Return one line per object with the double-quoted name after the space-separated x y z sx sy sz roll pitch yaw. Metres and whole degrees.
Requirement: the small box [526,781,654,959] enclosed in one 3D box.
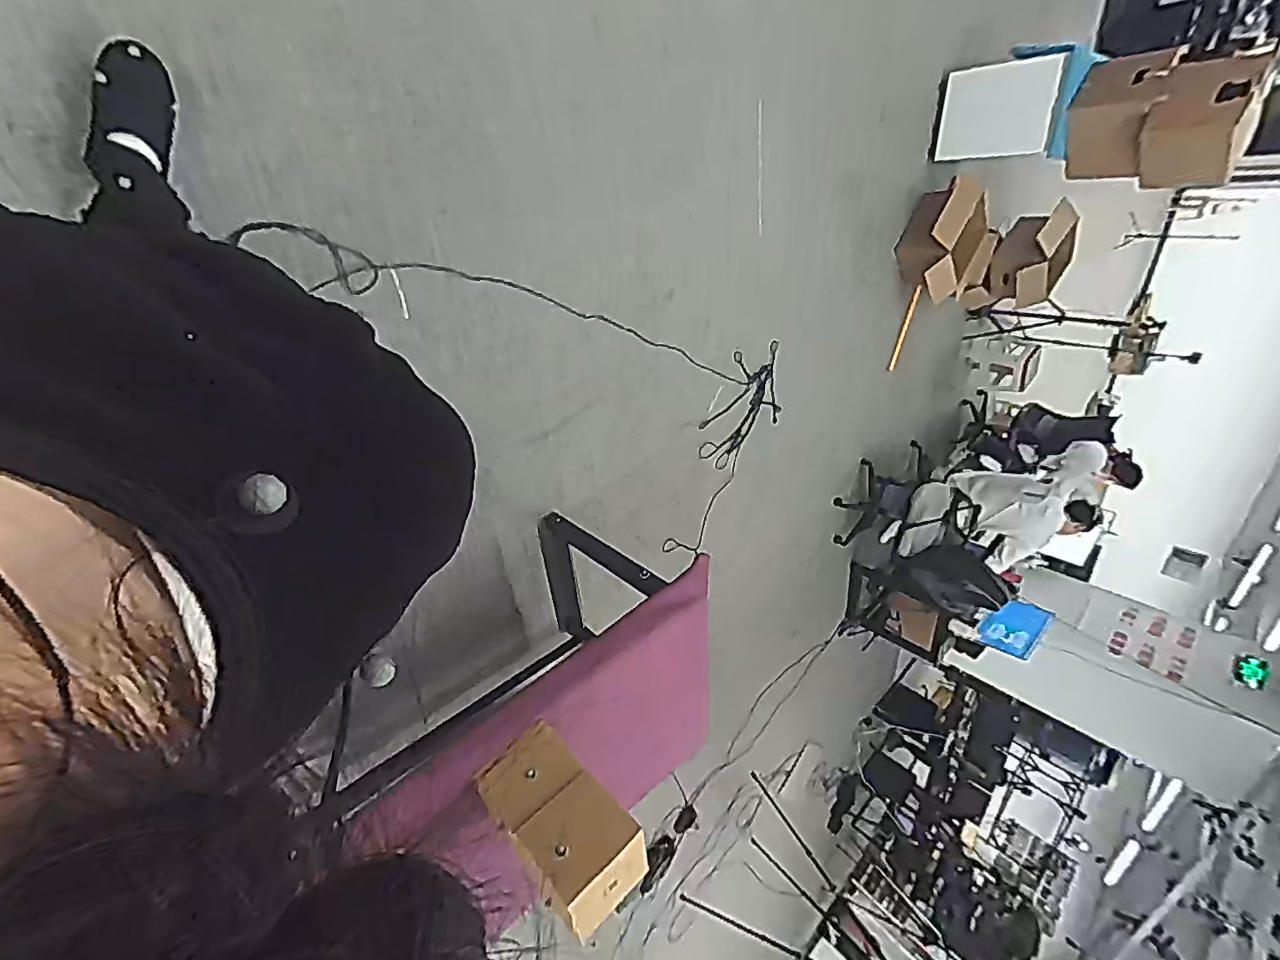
-0.097 0.718 1.011 0.179 0.176 0.168 -28 128 -34 "small box"
